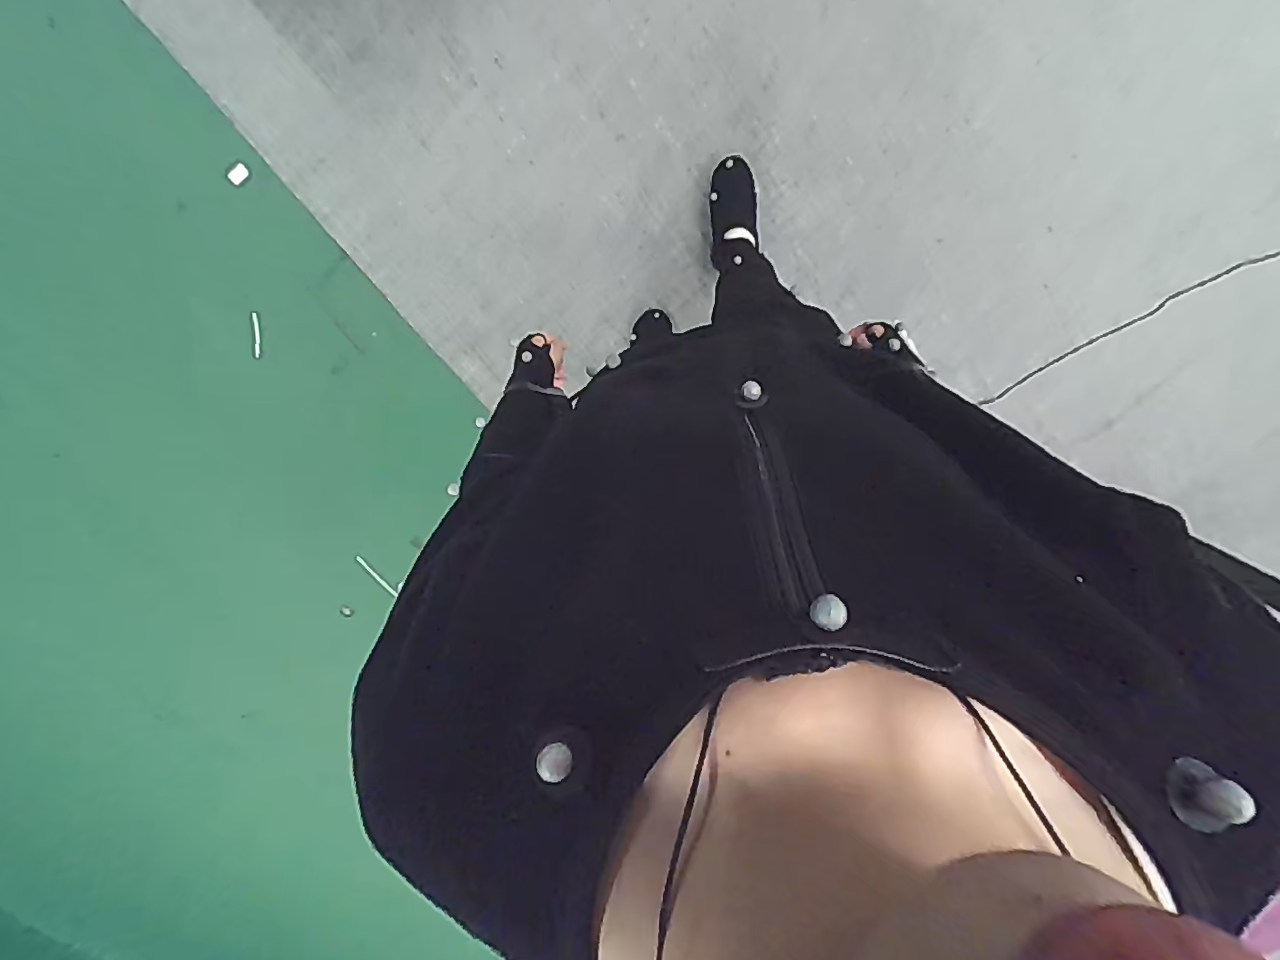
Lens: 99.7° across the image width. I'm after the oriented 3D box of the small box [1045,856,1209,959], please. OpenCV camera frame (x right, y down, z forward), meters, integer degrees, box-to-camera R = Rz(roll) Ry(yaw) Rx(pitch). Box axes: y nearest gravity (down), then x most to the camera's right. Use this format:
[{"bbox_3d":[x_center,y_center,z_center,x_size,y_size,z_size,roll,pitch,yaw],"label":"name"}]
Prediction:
[{"bbox_3d":[0.928,0.860,1.020,0.168,0.176,0.179,-41,107,14],"label":"small box"}]
